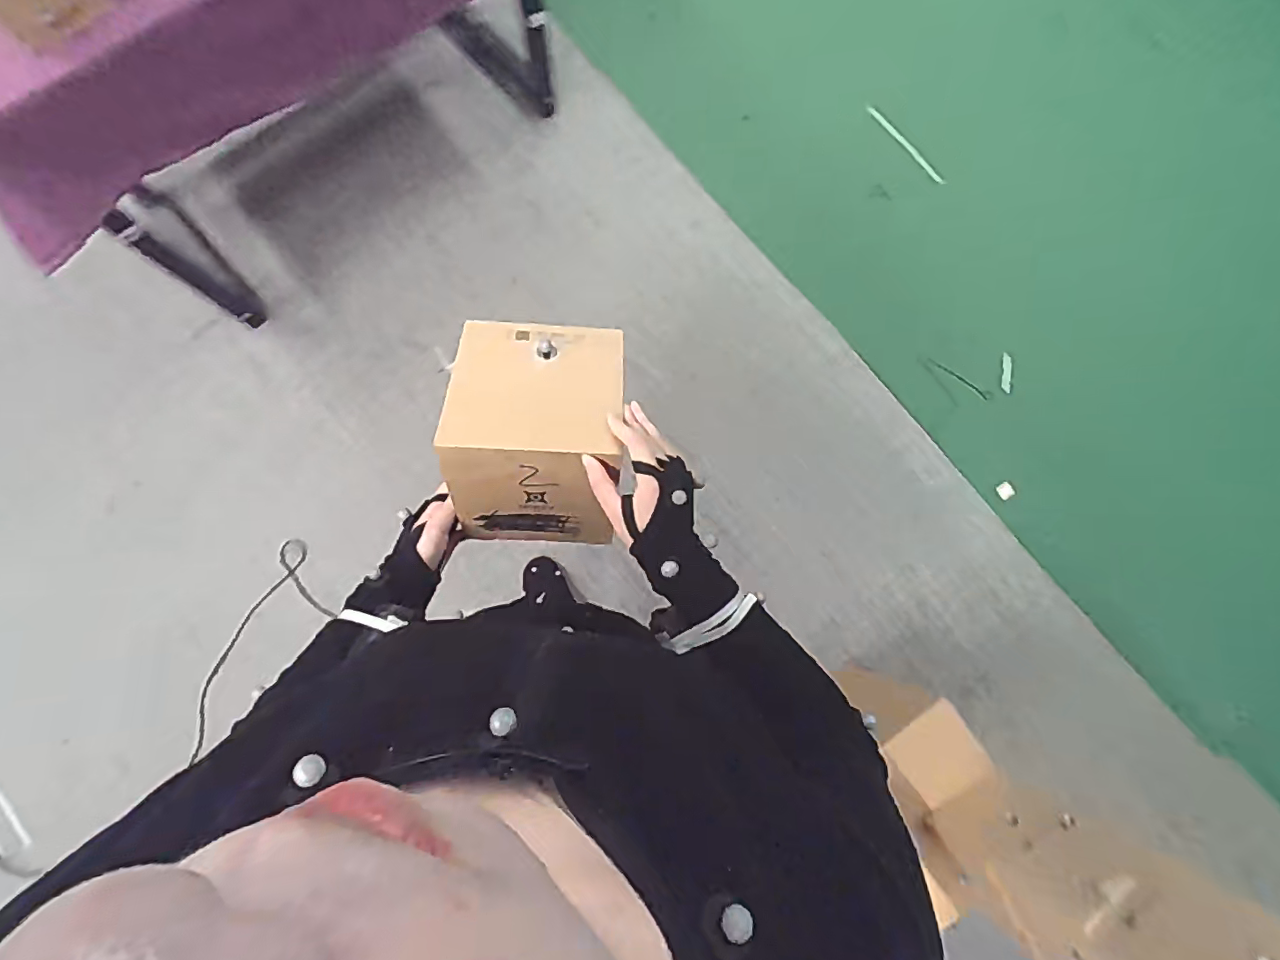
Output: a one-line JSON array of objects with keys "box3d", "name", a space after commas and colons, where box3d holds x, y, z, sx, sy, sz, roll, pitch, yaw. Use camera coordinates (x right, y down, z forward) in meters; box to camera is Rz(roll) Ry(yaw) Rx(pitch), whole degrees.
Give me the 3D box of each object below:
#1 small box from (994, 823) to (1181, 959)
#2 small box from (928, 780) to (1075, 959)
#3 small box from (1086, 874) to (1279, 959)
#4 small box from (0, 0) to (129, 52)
[{"box3d": [0.657, 0.627, 0.765, 0.168, 0.176, 0.179, -25, 84, -7], "name": "small box"}, {"box3d": [0.644, 0.655, 0.927, 0.179, 0.176, 0.168, -27, 82, -6], "name": "small box"}, {"box3d": [0.672, 0.603, 0.603, 0.168, 0.176, 0.179, -32, 84, -8], "name": "small box"}, {"box3d": [-0.987, -0.839, 0.850, 0.168, 0.176, 0.179, -39, 84, -8], "name": "small box"}]
